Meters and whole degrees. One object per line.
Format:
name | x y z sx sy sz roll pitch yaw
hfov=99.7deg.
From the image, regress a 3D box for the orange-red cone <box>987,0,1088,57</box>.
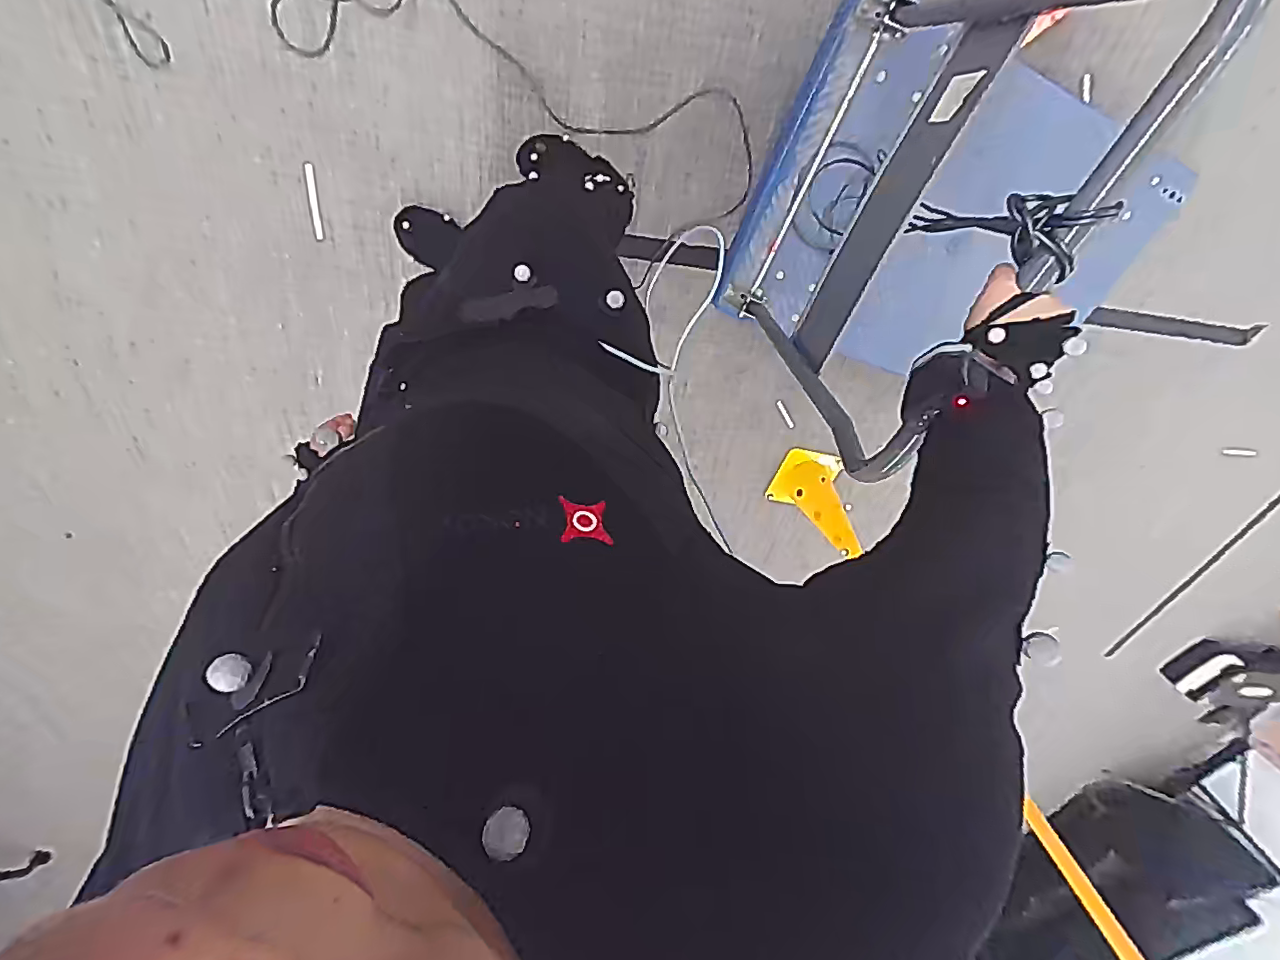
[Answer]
orange-red cone | 0.767 -0.835 0.869 0.198 0.360 0.199 -32 128 15
